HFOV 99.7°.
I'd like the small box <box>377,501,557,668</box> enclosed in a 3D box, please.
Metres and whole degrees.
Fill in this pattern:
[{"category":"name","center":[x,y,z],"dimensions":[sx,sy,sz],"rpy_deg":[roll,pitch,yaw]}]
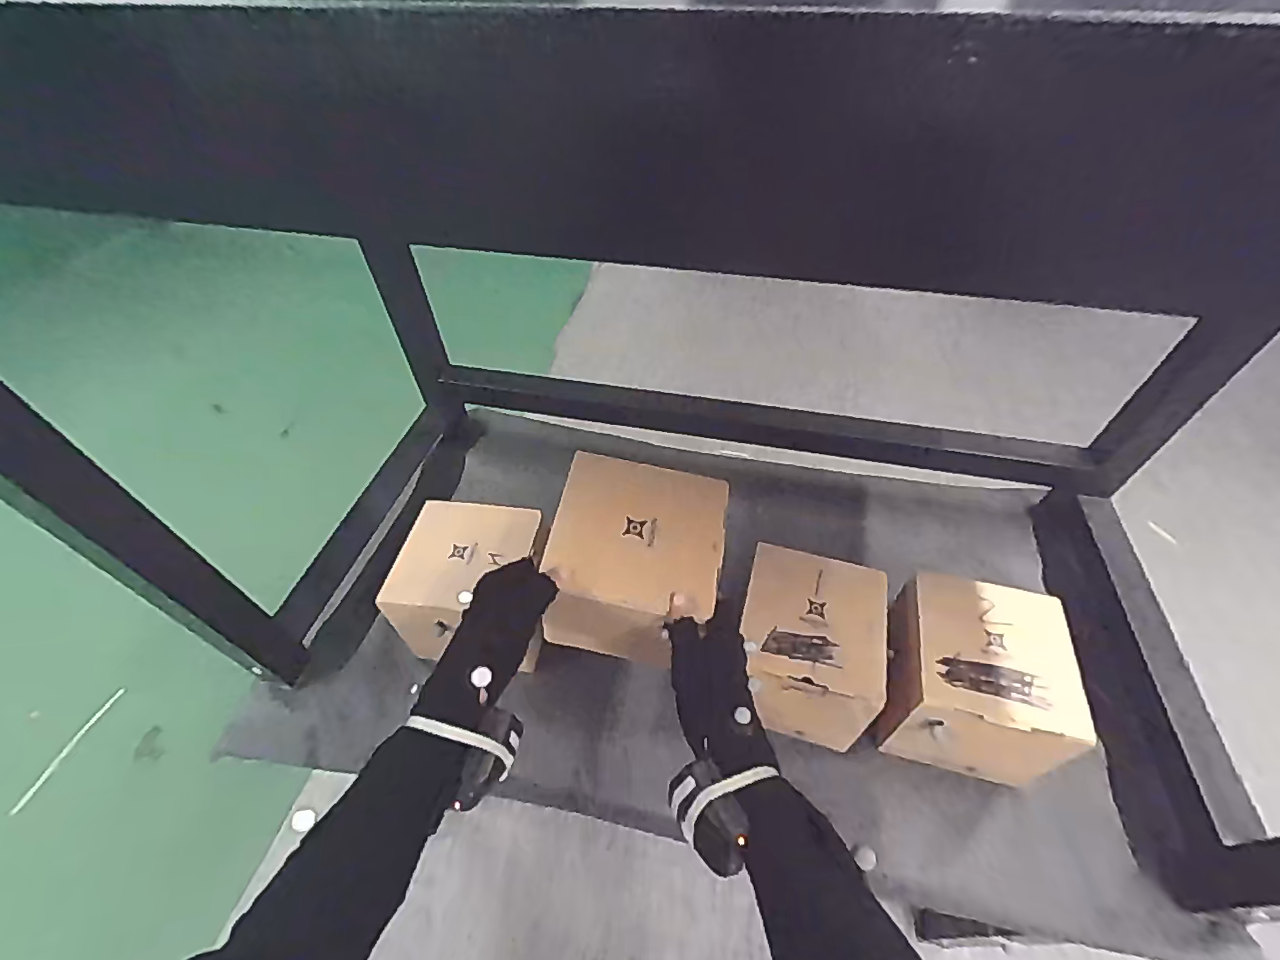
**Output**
[{"category":"small box","center":[-0.230,0.151,0.772],"dimensions":[0.179,0.176,0.168],"rpy_deg":[6,49,6]}]
